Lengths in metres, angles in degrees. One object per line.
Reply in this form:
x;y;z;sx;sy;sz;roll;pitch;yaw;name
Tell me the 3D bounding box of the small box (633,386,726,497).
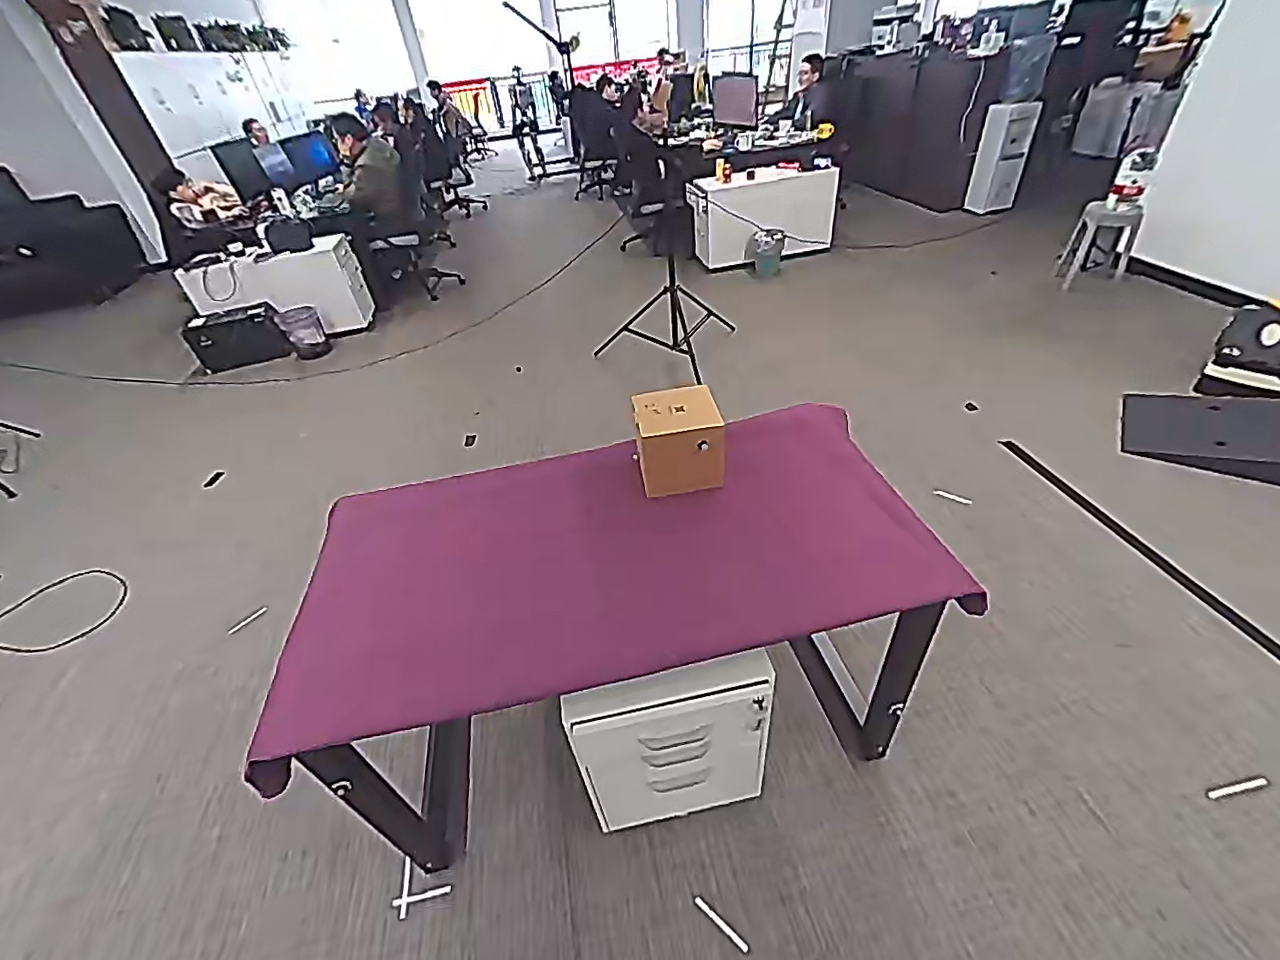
0.086;-0.085;1.199;0.179;0.176;0.168;-10;40;-2;small box
